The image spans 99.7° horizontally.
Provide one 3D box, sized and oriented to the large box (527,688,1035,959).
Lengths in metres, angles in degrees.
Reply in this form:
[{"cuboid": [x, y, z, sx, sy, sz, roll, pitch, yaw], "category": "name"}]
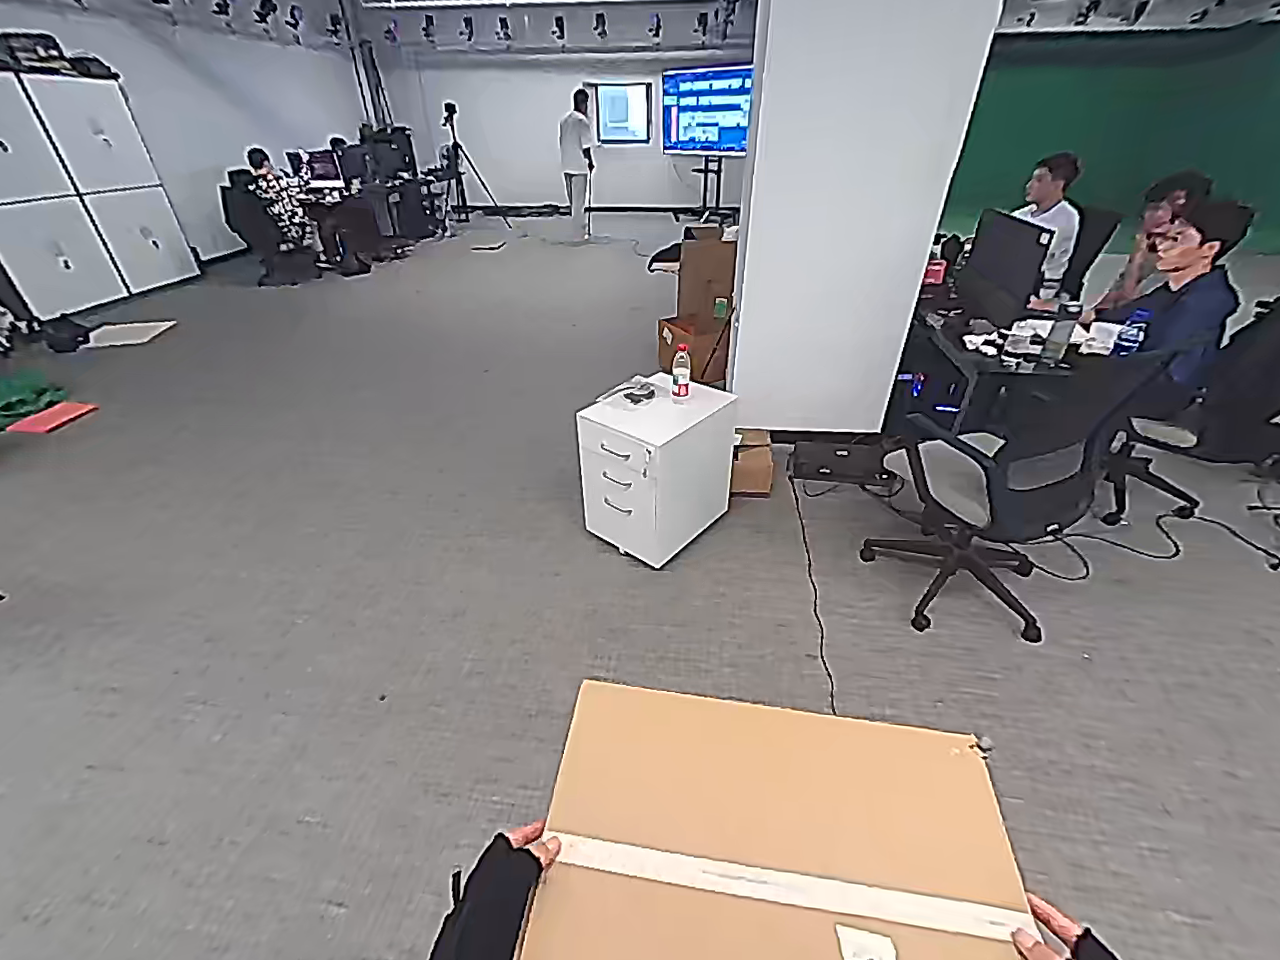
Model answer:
[{"cuboid": [0.114, 0.457, 0.556, 0.408, 0.320, 0.320, 6, 42, 6], "category": "large box"}]
